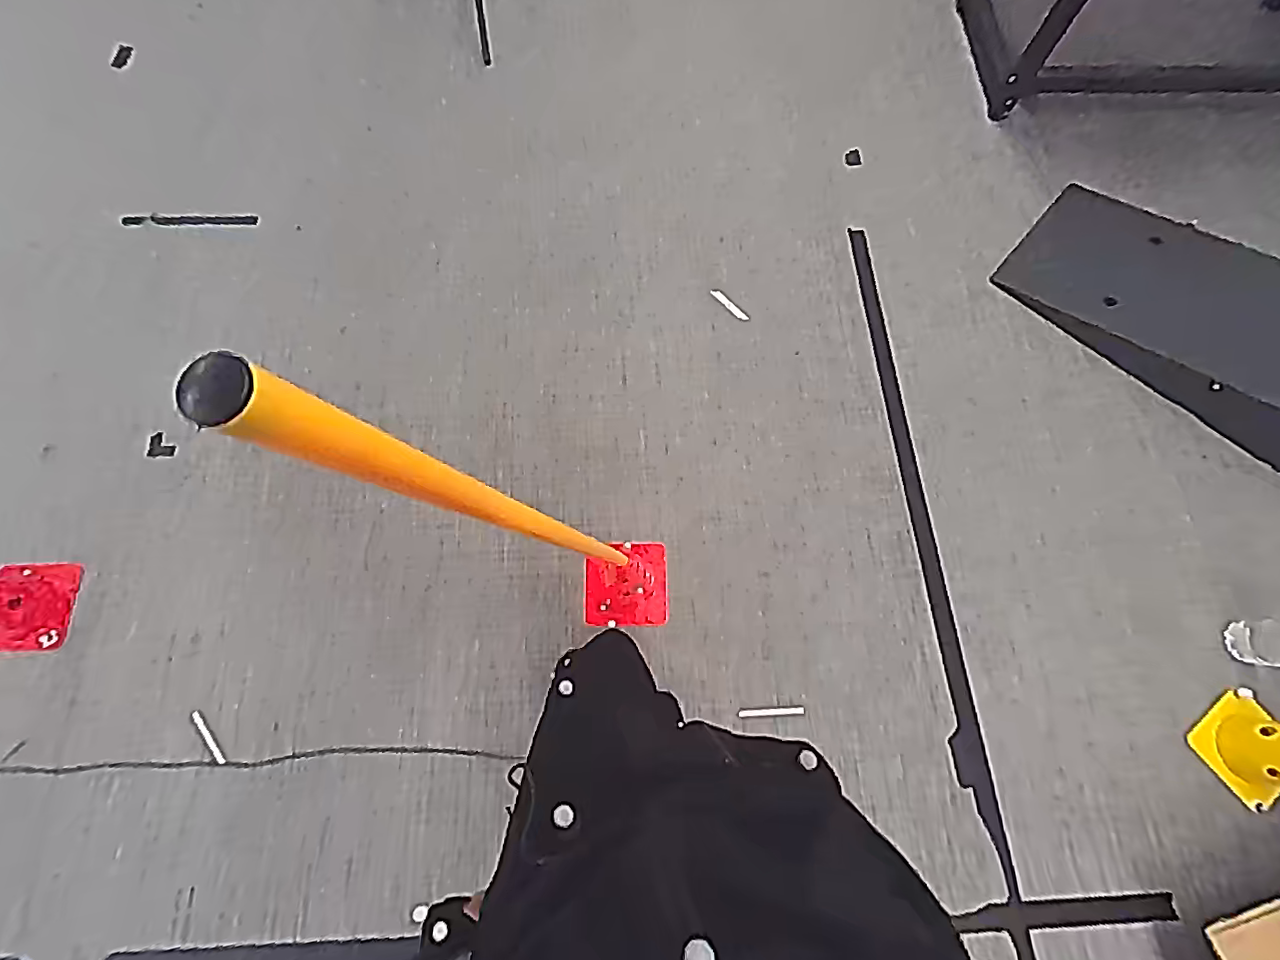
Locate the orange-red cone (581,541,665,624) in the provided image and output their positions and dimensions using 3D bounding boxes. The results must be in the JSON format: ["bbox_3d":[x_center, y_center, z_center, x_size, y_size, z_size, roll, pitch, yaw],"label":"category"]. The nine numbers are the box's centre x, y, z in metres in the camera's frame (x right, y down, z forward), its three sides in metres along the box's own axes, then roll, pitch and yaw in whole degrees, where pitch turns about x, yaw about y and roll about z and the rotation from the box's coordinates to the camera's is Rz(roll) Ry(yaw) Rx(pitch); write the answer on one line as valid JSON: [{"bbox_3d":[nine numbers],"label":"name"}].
[{"bbox_3d":[-0.036,0.195,1.139,0.199,0.360,0.198,1,73,-1],"label":"orange-red cone"}]
